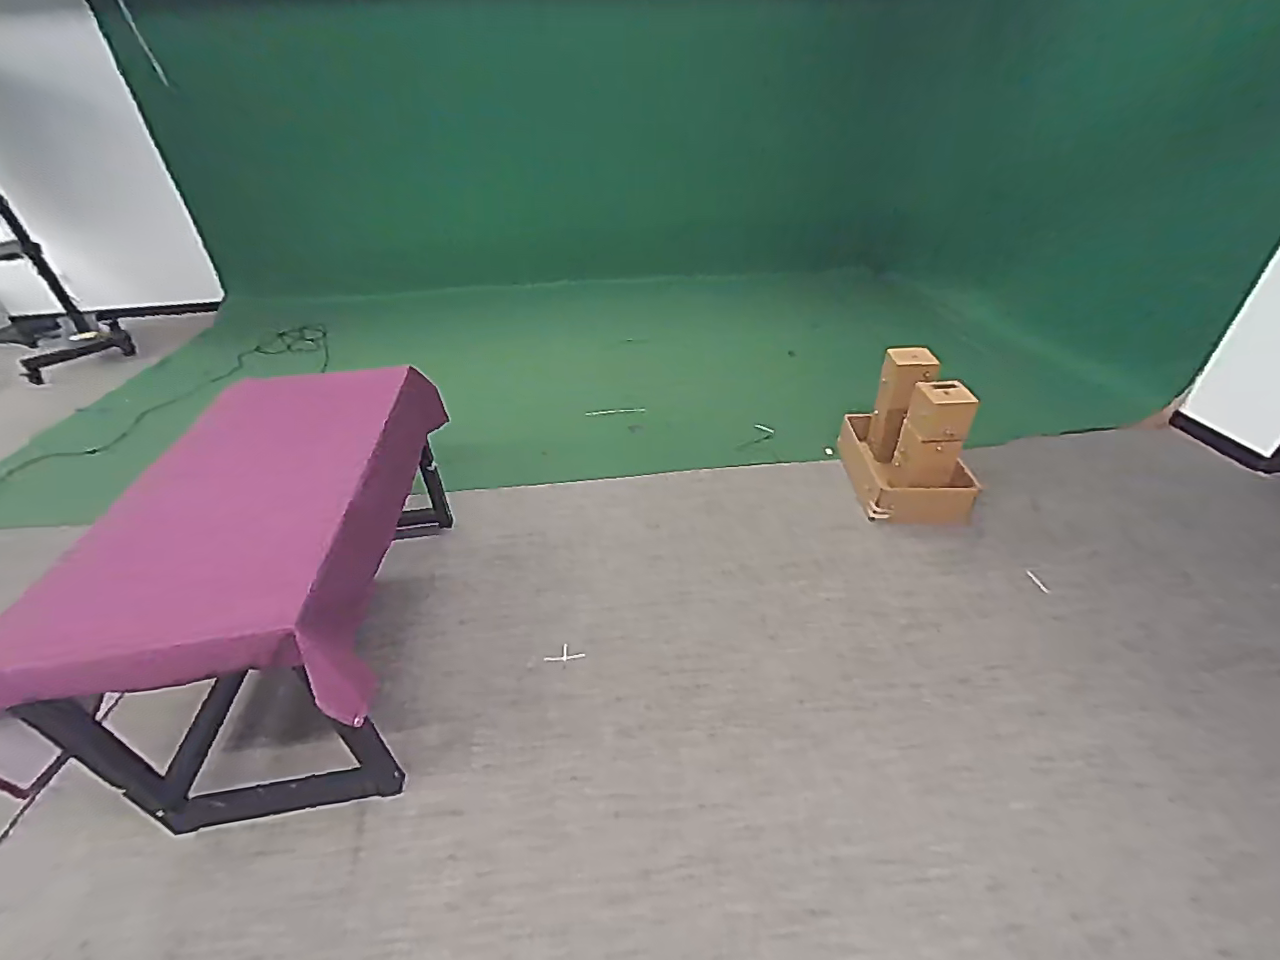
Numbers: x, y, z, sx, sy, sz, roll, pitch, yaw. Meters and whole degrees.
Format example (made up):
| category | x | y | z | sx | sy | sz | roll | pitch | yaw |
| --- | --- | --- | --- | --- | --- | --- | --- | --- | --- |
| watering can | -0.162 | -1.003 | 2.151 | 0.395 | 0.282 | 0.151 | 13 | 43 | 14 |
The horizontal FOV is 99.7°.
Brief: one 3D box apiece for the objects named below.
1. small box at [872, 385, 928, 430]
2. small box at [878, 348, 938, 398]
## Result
| category | x | y | z | sx | sy | sz | roll | pitch | yaw |
| --- | --- | --- | --- | --- | --- | --- | --- | --- | --- |
| small box | 1.189 | -0.339 | 2.486 | 0.179 | 0.176 | 0.168 | 1 | 38 | 7 |
| small box | 1.179 | -0.472 | 2.390 | 0.179 | 0.176 | 0.168 | 0 | 37 | 5 |
